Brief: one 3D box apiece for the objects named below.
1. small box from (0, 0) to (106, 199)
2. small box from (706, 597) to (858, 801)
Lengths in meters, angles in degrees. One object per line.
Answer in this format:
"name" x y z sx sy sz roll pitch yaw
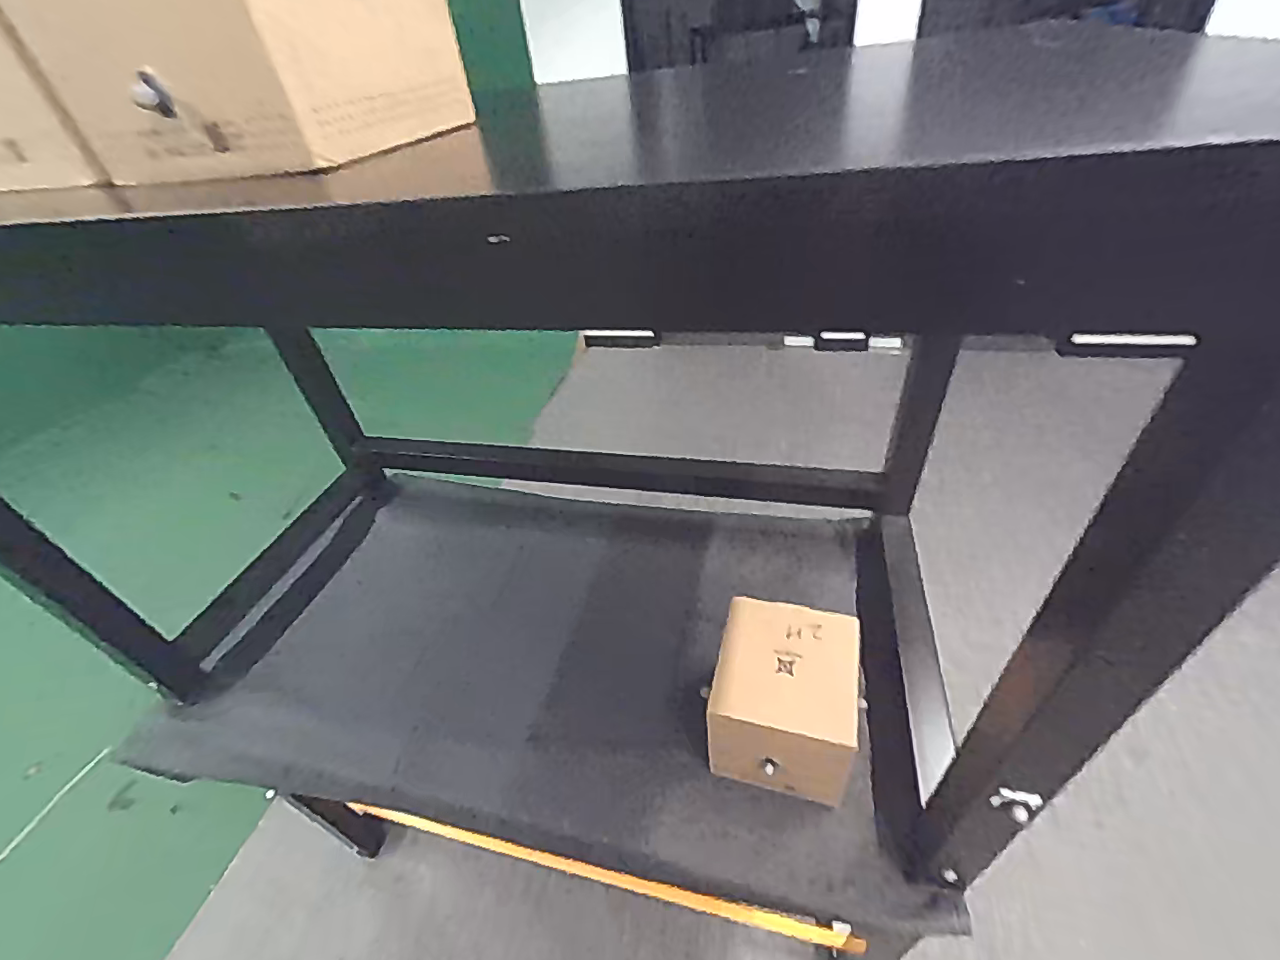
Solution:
"small box" -0.611 -0.324 0.444 0.168 0.176 0.179 6 42 16
"small box" 0.189 0.288 0.715 0.168 0.176 0.179 7 41 17
